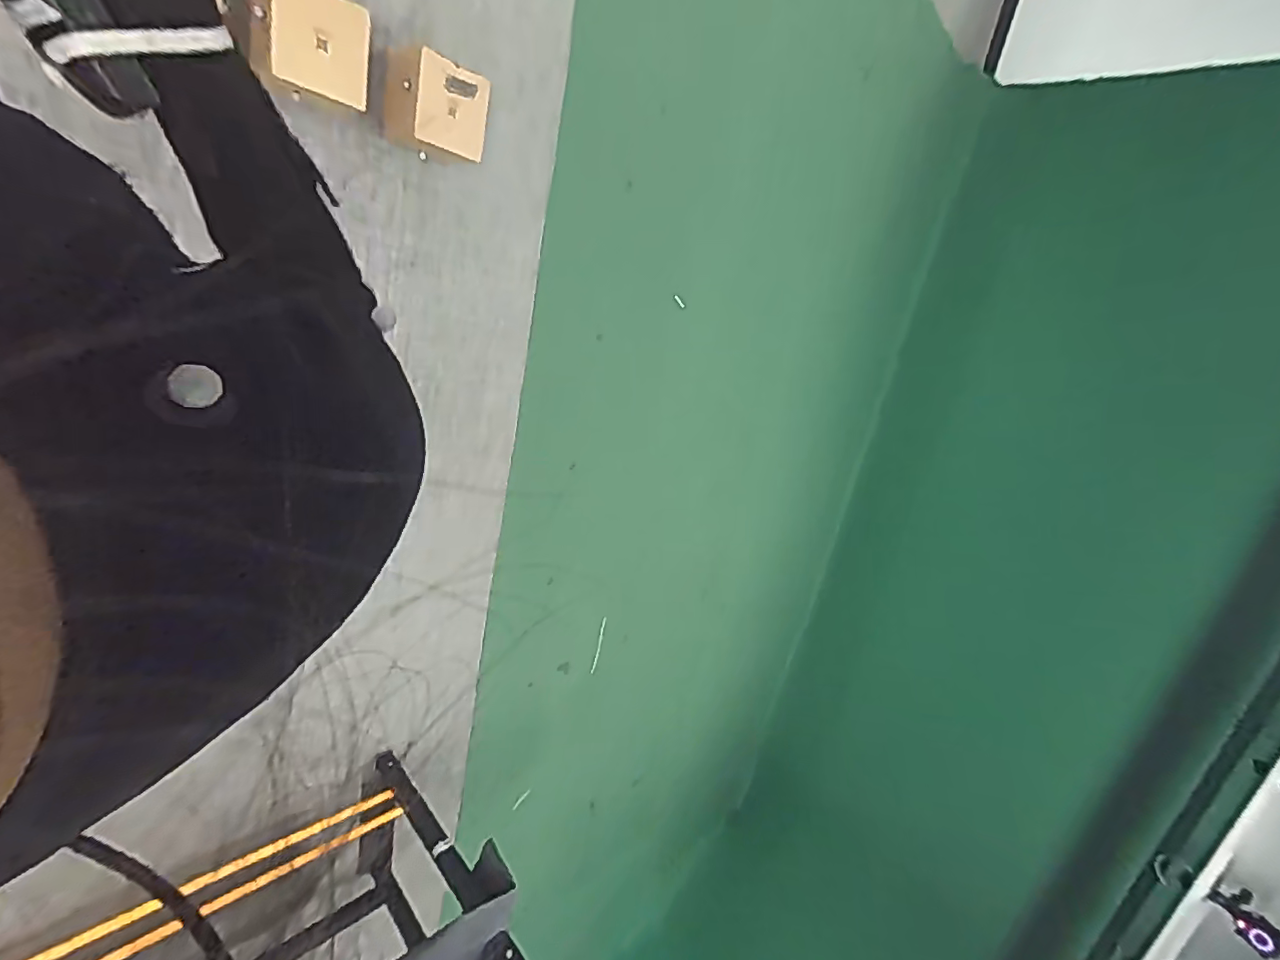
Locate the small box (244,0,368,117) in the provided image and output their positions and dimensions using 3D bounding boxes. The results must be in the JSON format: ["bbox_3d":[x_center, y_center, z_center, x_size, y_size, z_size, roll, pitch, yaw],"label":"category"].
[{"bbox_3d":[-0.658,-0.842,1.063,0.168,0.176,0.179,-8,115,-48],"label":"small box"}]

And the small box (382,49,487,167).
[{"bbox_3d":[-0.482,-0.853,1.259,0.168,0.176,0.179,-6,115,-48],"label":"small box"}]

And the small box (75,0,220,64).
[{"bbox_3d":[-0.811,-0.826,0.889,0.168,0.176,0.179,-5,113,-49],"label":"small box"}]
